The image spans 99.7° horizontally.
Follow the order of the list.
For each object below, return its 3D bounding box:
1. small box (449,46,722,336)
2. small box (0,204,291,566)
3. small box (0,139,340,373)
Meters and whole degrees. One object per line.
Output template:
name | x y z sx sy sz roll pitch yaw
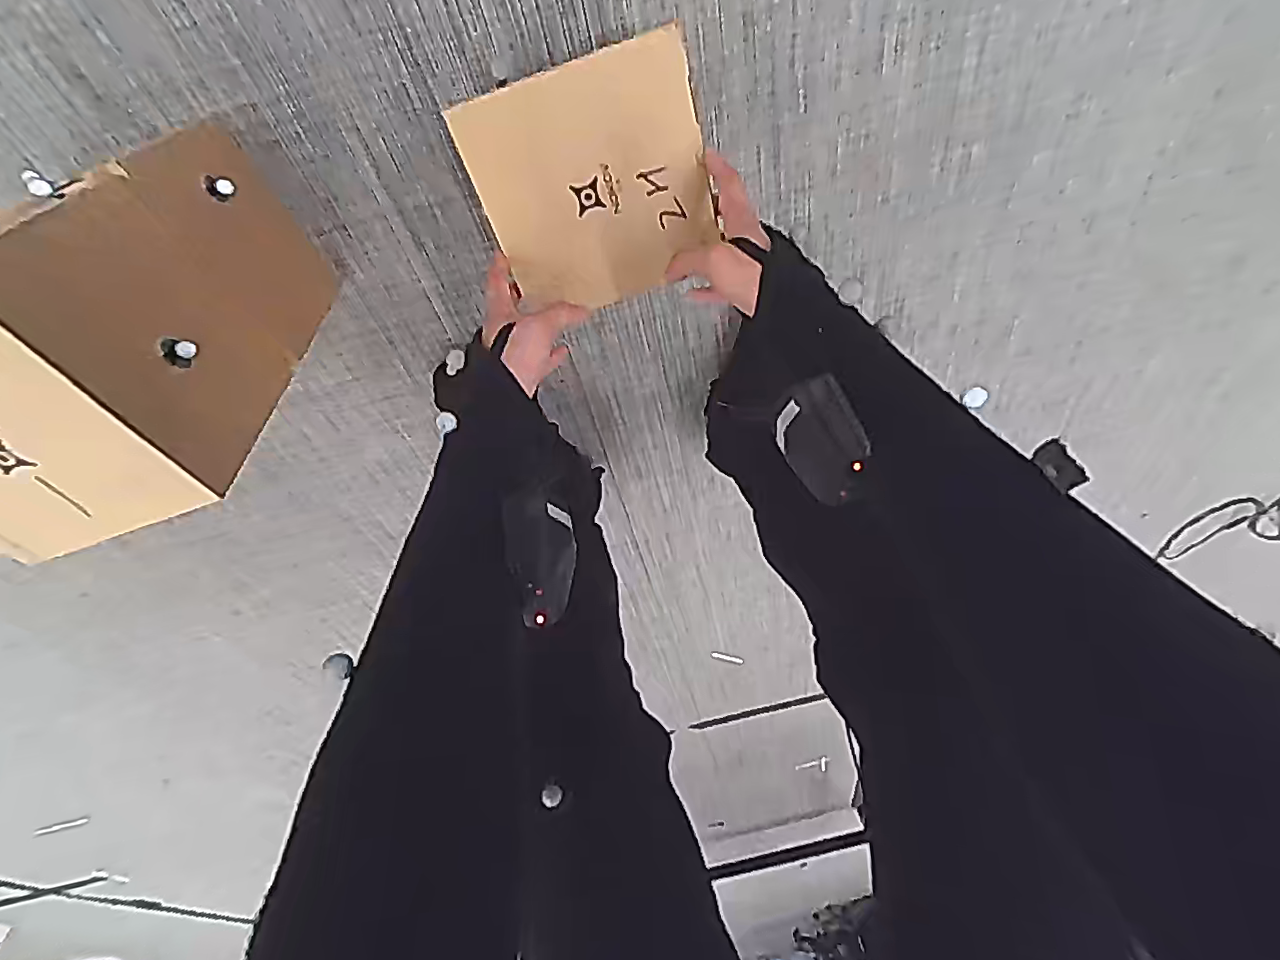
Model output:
small box | -0.043 -0.256 0.484 0.179 0.176 0.168 -18 127 2
small box | -0.401 -0.073 0.386 0.168 0.176 0.179 -17 134 5
small box | -0.420 -0.189 0.501 0.168 0.176 0.179 -19 134 6
